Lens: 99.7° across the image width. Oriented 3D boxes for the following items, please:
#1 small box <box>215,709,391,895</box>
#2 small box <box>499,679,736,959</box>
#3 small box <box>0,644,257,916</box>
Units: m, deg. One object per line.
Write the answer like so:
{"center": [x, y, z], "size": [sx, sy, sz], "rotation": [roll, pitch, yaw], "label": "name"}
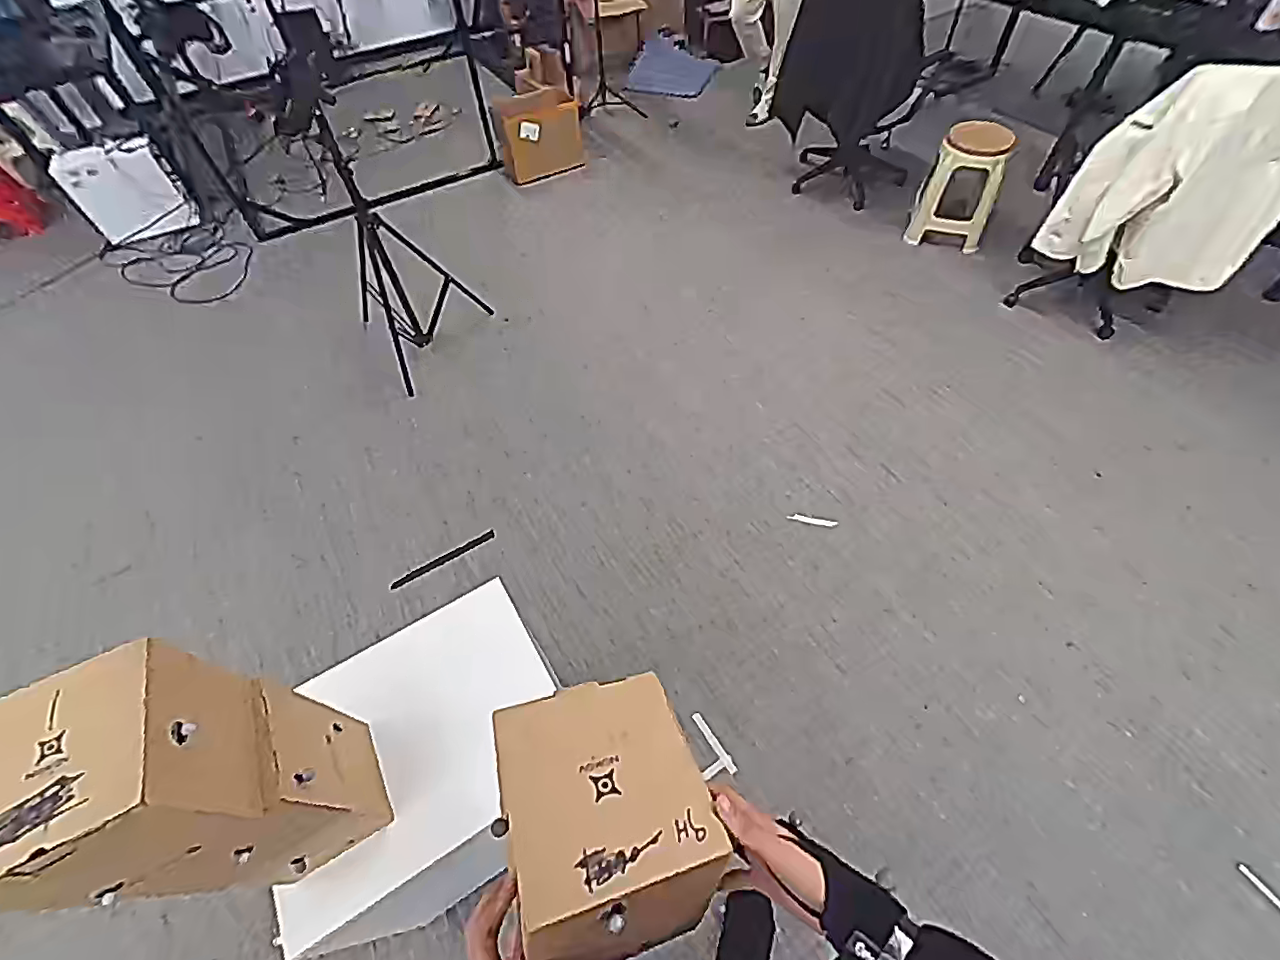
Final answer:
{"center": [-0.510, 0.488, 0.827], "size": [0.168, 0.176, 0.179], "rotation": [-27, 57, -16], "label": "small box"}
{"center": [-0.037, 0.324, 0.504], "size": [0.168, 0.176, 0.179], "rotation": [-7, 36, -20], "label": "small box"}
{"center": [-0.529, 0.305, 0.554], "size": [0.168, 0.176, 0.179], "rotation": [-25, 56, -14], "label": "small box"}
